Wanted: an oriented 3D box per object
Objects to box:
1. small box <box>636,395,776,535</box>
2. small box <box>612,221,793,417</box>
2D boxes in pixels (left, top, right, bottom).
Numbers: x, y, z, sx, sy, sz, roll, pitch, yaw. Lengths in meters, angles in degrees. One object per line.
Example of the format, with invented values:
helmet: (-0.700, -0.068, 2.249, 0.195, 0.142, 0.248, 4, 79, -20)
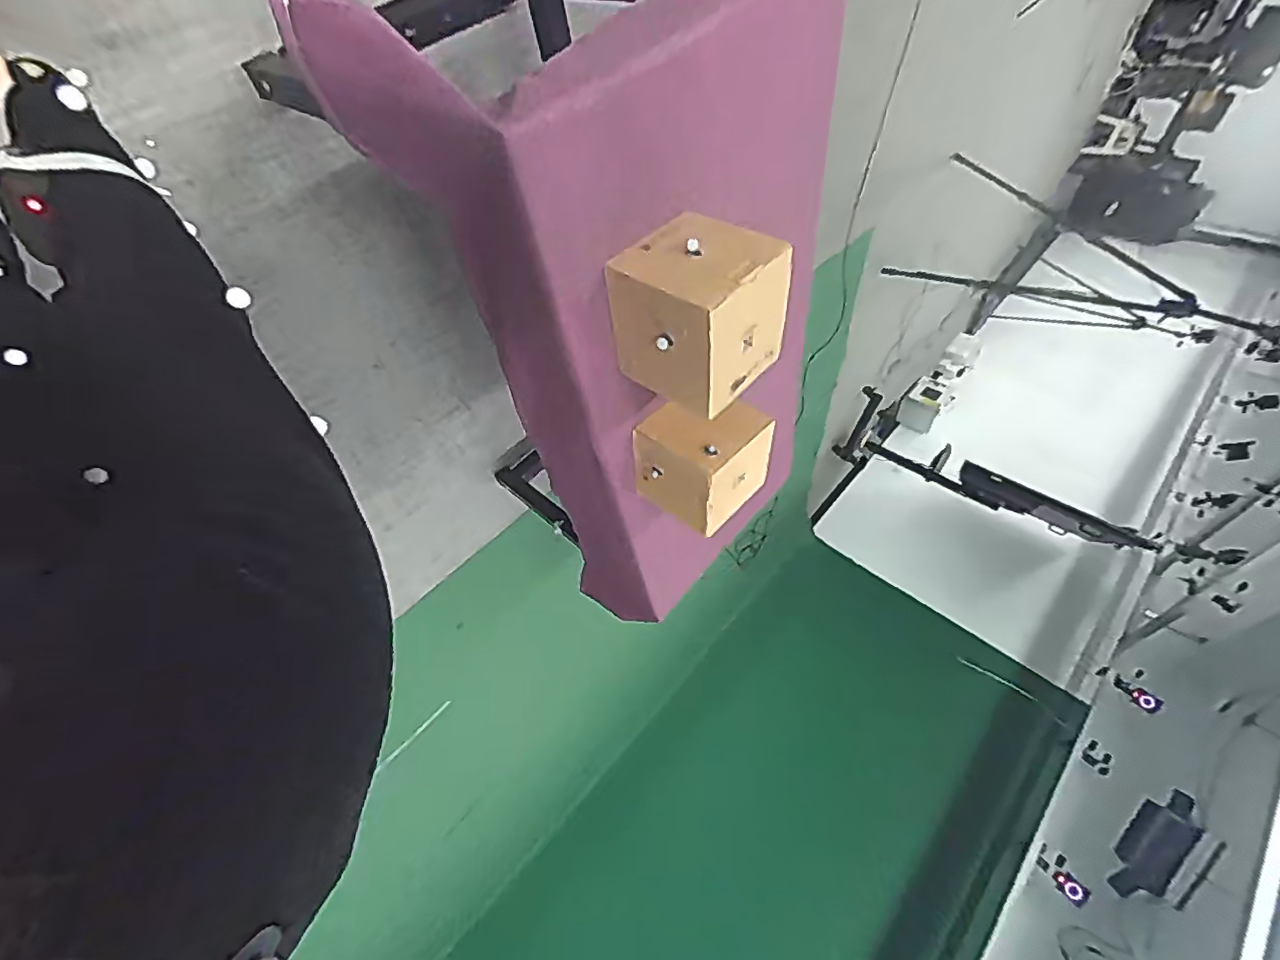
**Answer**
small box: (0.112, -0.045, 0.958, 0.179, 0.176, 0.168, -38, 147, -27)
small box: (0.079, -0.223, 0.721, 0.168, 0.176, 0.179, -41, 148, -23)
